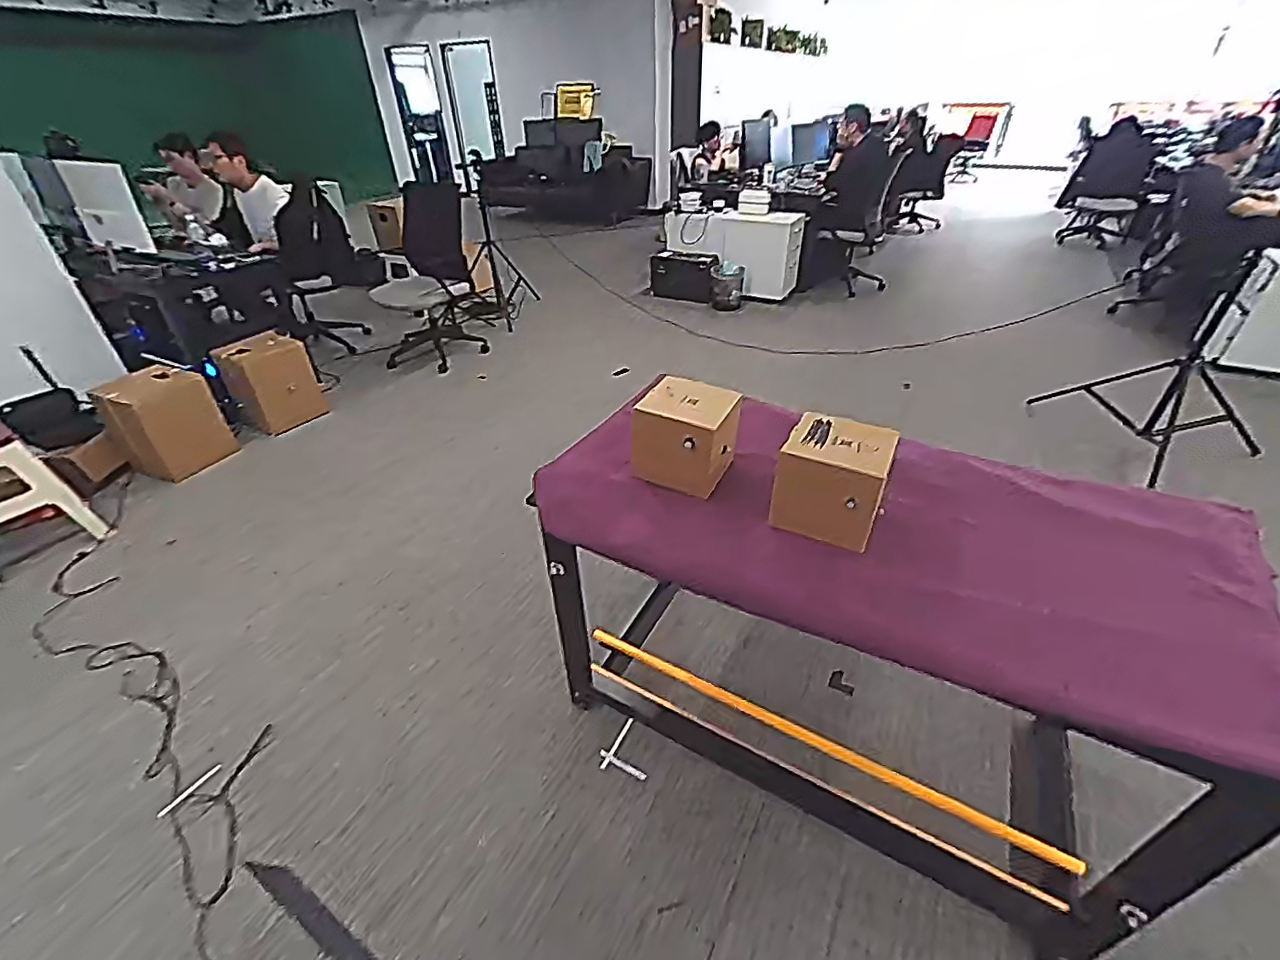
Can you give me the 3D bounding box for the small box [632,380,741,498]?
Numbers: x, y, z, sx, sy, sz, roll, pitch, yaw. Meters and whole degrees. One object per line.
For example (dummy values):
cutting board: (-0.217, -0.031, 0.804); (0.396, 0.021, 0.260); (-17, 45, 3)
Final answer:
small box: (0.095, -0.085, 1.135); (0.179, 0.176, 0.168); (18, 39, 21)
